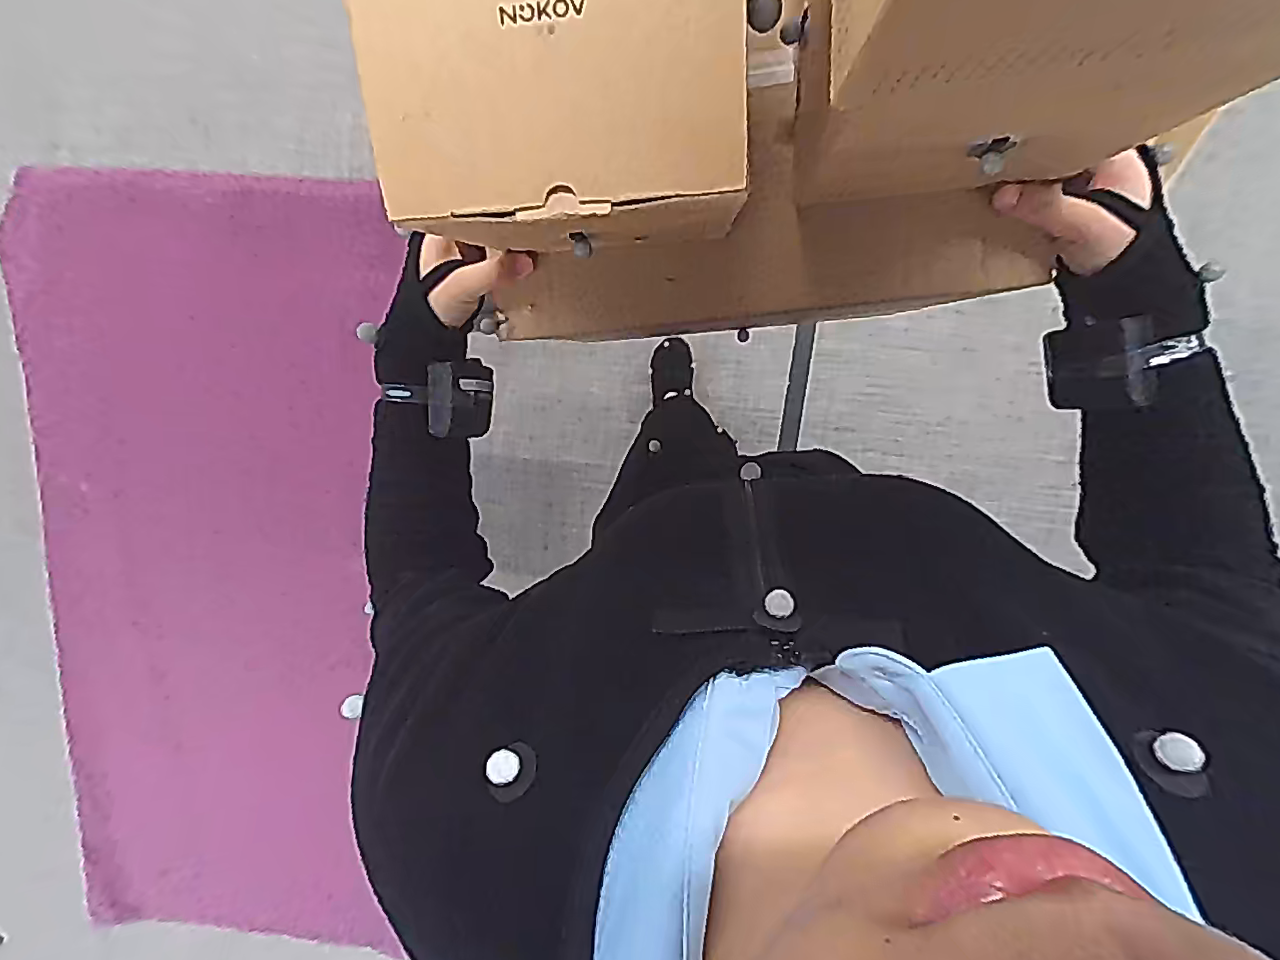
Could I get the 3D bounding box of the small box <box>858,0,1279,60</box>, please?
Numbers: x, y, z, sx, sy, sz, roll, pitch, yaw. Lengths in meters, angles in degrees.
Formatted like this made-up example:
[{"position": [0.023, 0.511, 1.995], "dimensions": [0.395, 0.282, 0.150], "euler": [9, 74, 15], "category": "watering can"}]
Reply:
[{"position": [0.151, -0.217, 0.102], "dimensions": [0.179, 0.176, 0.168], "euler": [-1, 104, 8], "category": "small box"}]
